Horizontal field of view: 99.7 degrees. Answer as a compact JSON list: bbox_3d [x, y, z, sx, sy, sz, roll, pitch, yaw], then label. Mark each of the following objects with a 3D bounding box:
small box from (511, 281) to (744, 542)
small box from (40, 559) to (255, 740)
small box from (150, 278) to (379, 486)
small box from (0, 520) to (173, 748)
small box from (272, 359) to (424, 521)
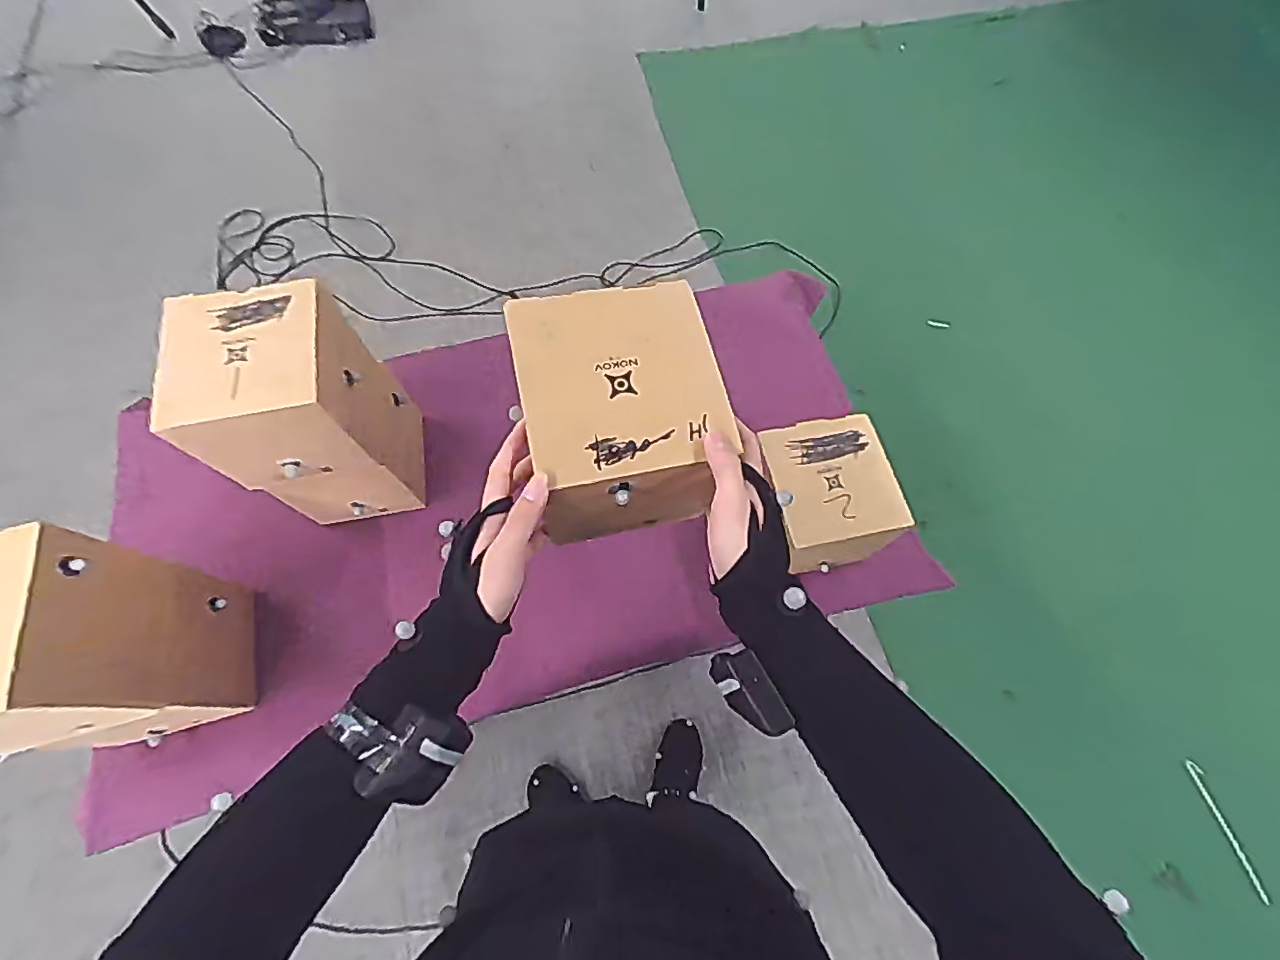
[{"bbox_3d":[-0.021,-0.057,0.515,0.168,0.176,0.179,-10,70,-9],"label":"small box"},{"bbox_3d":[-0.630,0.223,0.693,0.168,0.176,0.179,-14,68,-7],"label":"small box"},{"bbox_3d":[-0.438,-0.113,0.662,0.168,0.176,0.179,-11,69,-6],"label":"small box"},{"bbox_3d":[-0.620,0.164,0.543,0.168,0.176,0.179,-14,66,-6],"label":"small box"},{"bbox_3d":[-0.438,-0.055,0.817,0.168,0.176,0.179,-10,69,-5],"label":"small box"}]
